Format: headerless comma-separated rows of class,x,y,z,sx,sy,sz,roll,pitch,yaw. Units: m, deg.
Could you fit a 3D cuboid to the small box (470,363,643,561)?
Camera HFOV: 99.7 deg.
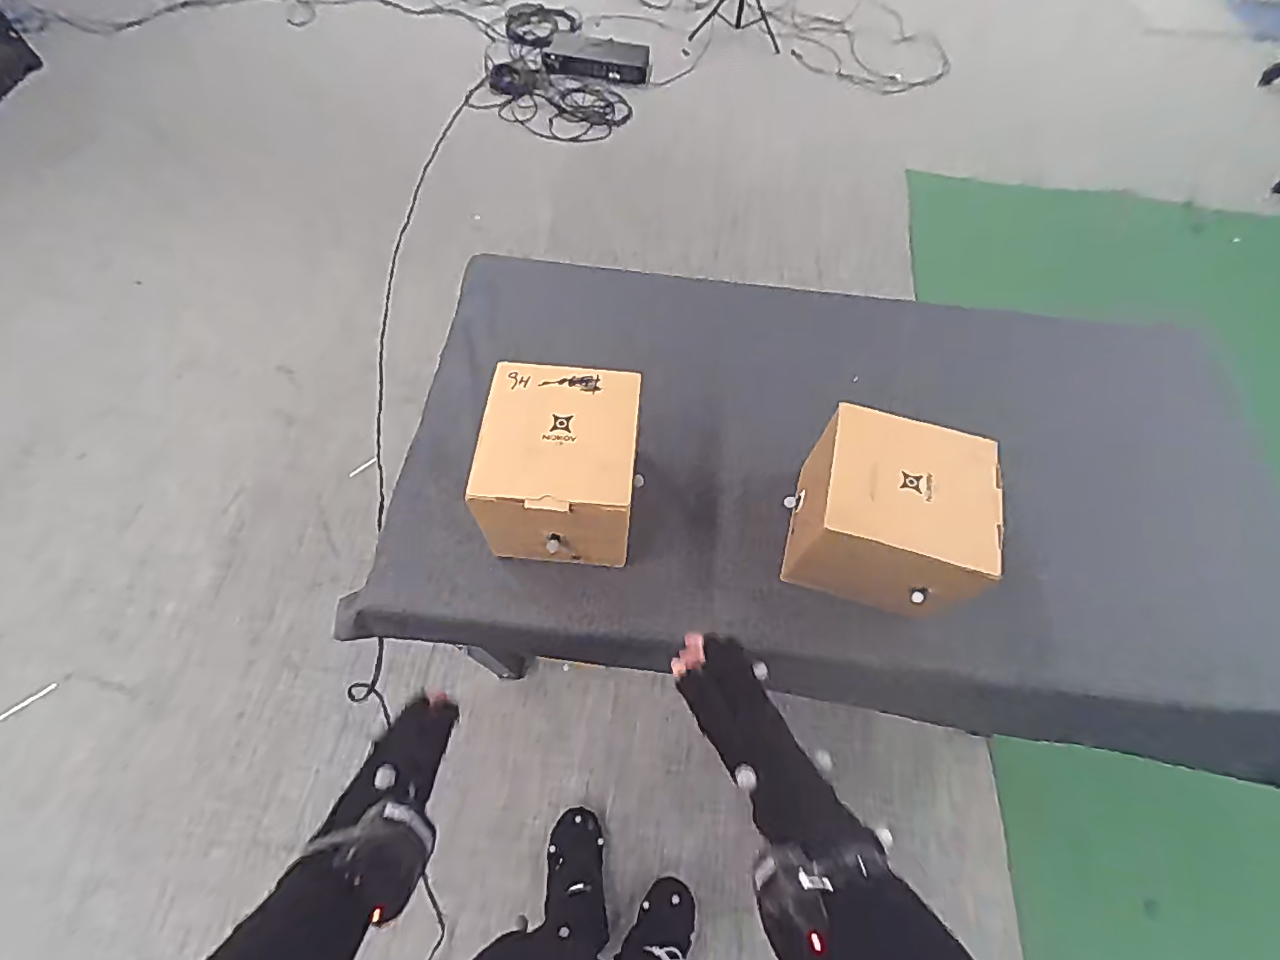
small box,-0.087,-0.014,0.648,0.168,0.176,0.179,5,61,-1

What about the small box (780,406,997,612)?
small box,0.284,0.043,0.642,0.179,0.176,0.168,15,61,6
